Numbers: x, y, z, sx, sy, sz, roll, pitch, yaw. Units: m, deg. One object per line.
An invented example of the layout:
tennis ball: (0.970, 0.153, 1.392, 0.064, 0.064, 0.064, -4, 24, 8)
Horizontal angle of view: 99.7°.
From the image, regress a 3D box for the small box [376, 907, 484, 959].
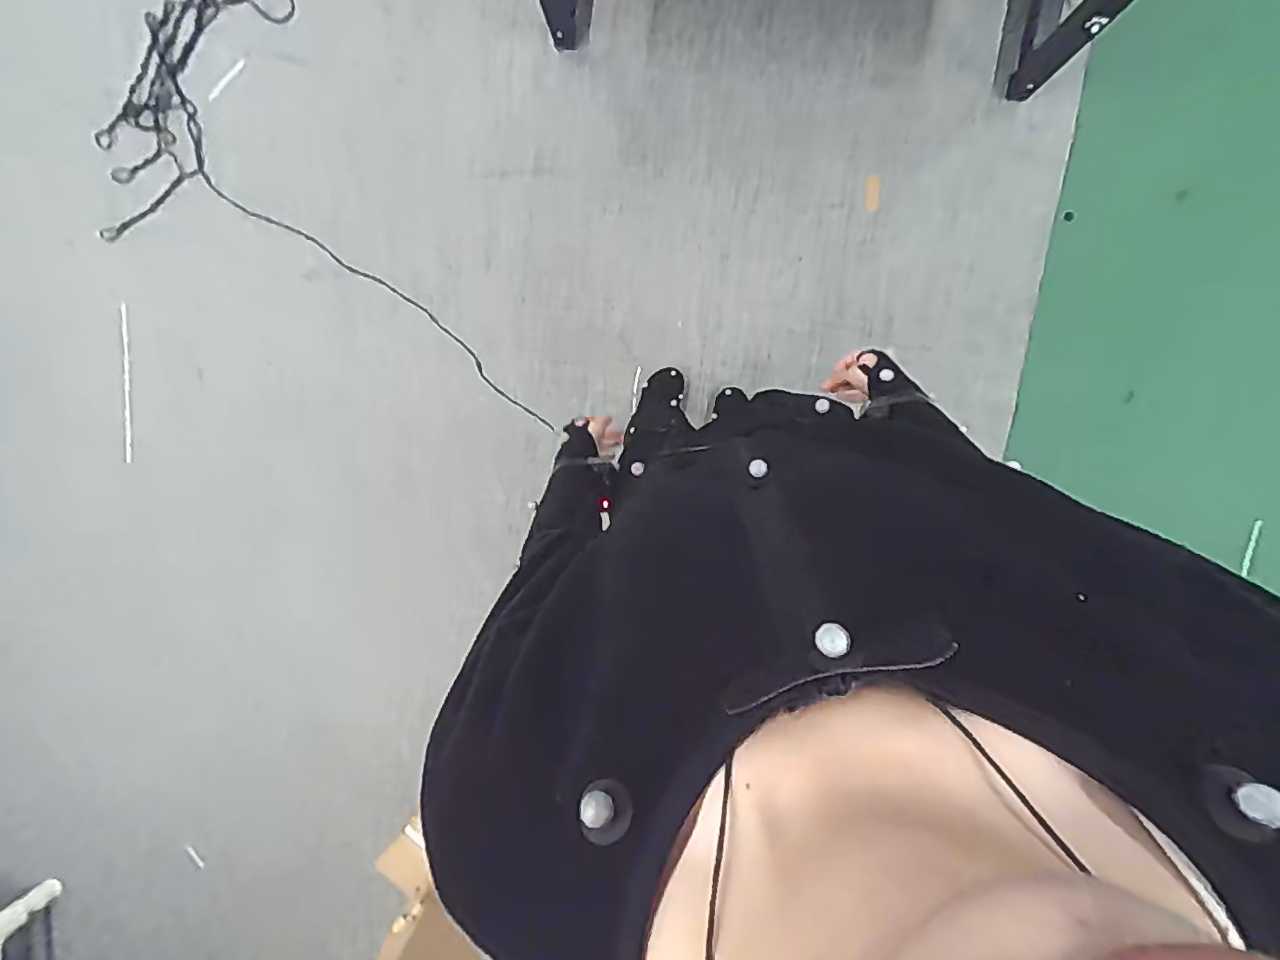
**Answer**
small box: (-0.462, 1.044, 1.122, 0.179, 0.176, 0.168, 41, 99, -2)

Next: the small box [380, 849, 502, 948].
small box: (-0.465, 1.030, 1.287, 0.179, 0.176, 0.168, 37, 100, 0)
